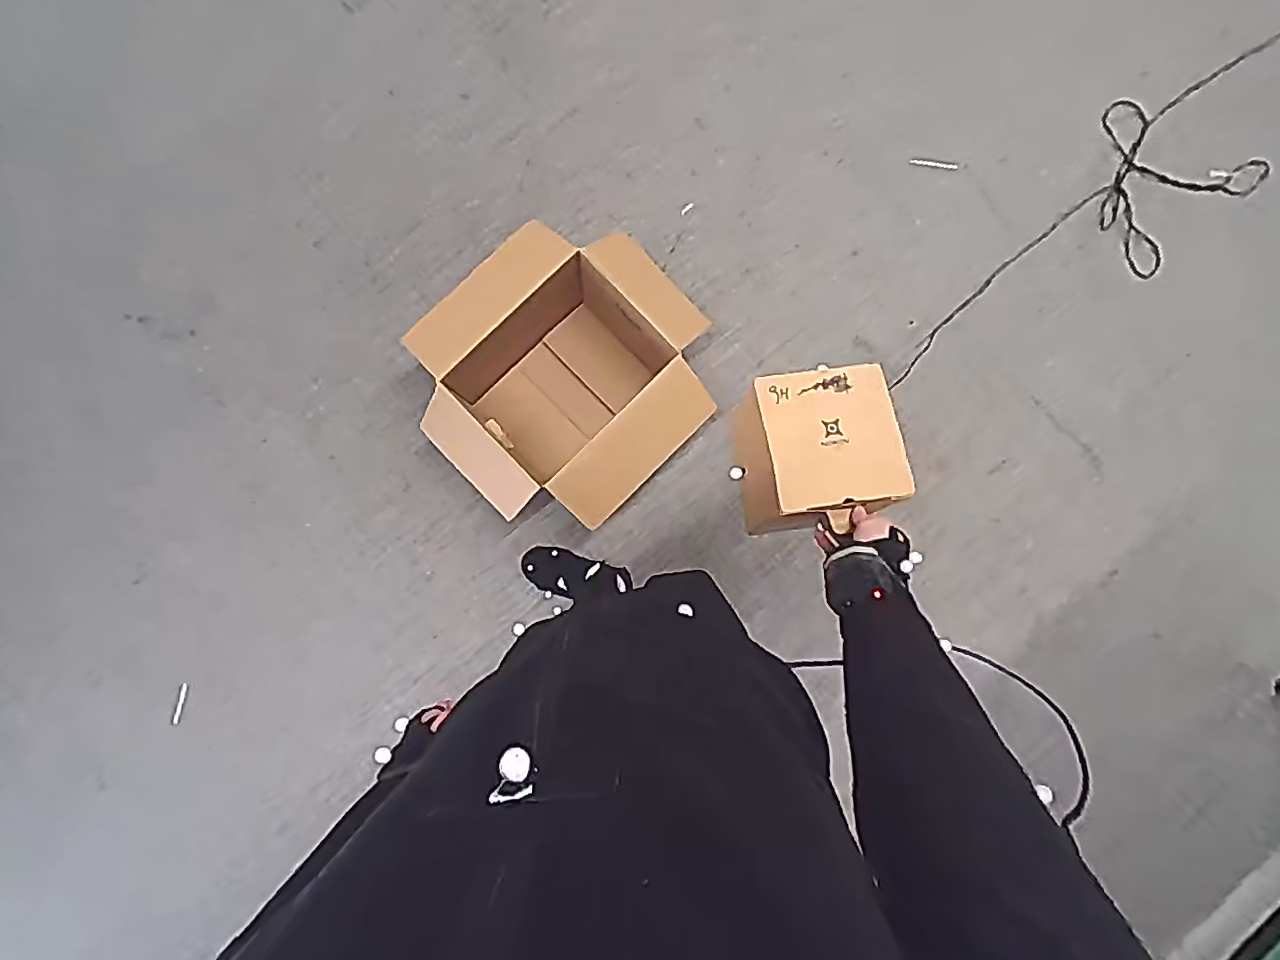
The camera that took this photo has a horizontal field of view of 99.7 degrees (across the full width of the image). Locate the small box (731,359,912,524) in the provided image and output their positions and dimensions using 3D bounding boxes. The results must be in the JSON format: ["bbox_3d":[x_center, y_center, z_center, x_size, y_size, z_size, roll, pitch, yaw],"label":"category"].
[{"bbox_3d":[0.228,-0.040,0.727,0.168,0.176,0.179,-7,77,-4],"label":"small box"}]
